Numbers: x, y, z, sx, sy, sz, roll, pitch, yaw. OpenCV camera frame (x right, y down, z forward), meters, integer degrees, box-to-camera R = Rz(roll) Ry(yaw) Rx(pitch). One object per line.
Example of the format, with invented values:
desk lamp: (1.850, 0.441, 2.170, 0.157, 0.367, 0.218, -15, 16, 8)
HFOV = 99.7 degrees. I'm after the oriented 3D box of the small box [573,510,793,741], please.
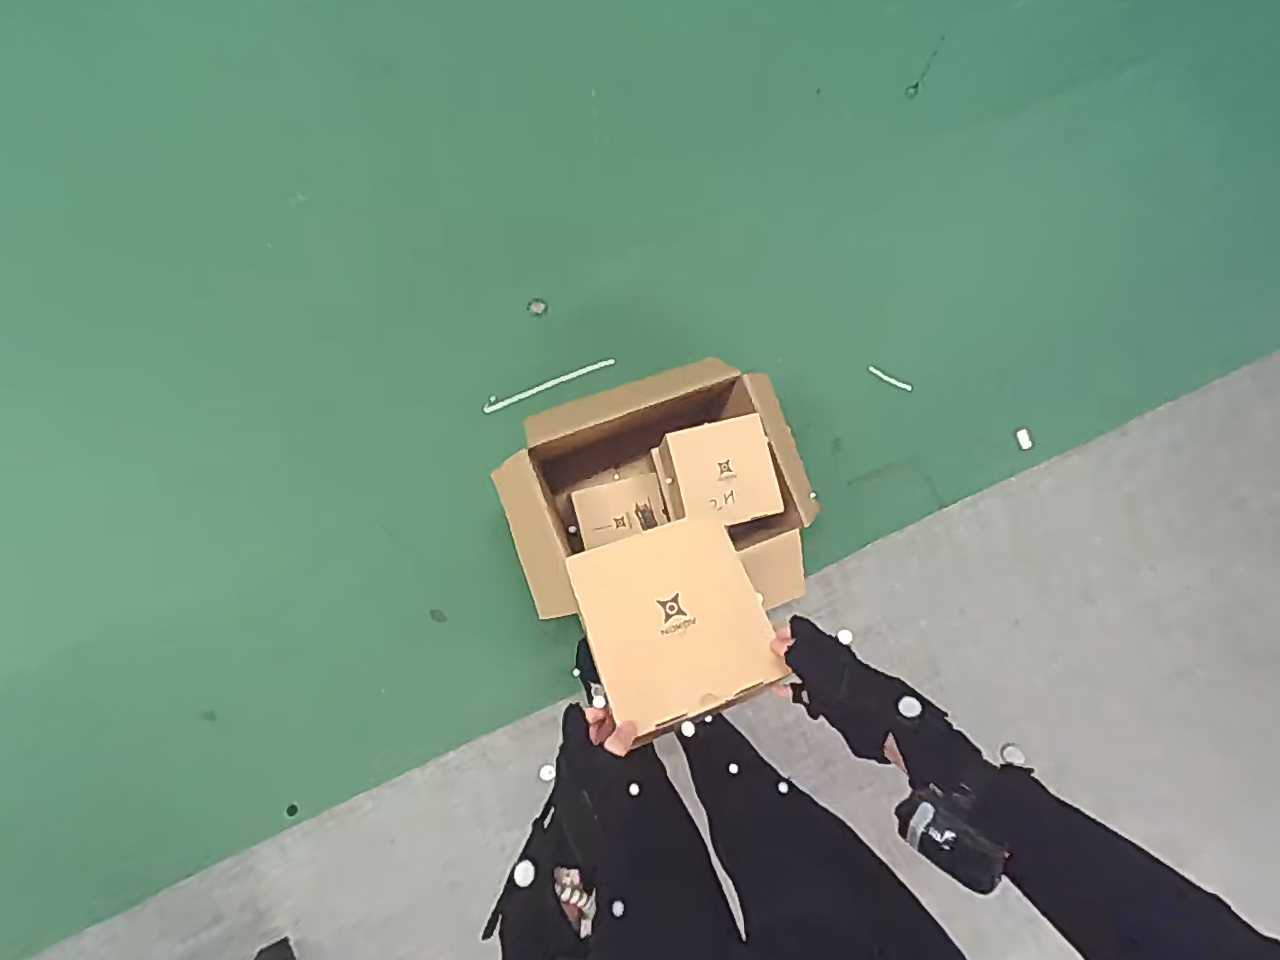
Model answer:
small box: (0.030, 0.161, 0.580, 0.168, 0.176, 0.179, -16, 65, -12)
